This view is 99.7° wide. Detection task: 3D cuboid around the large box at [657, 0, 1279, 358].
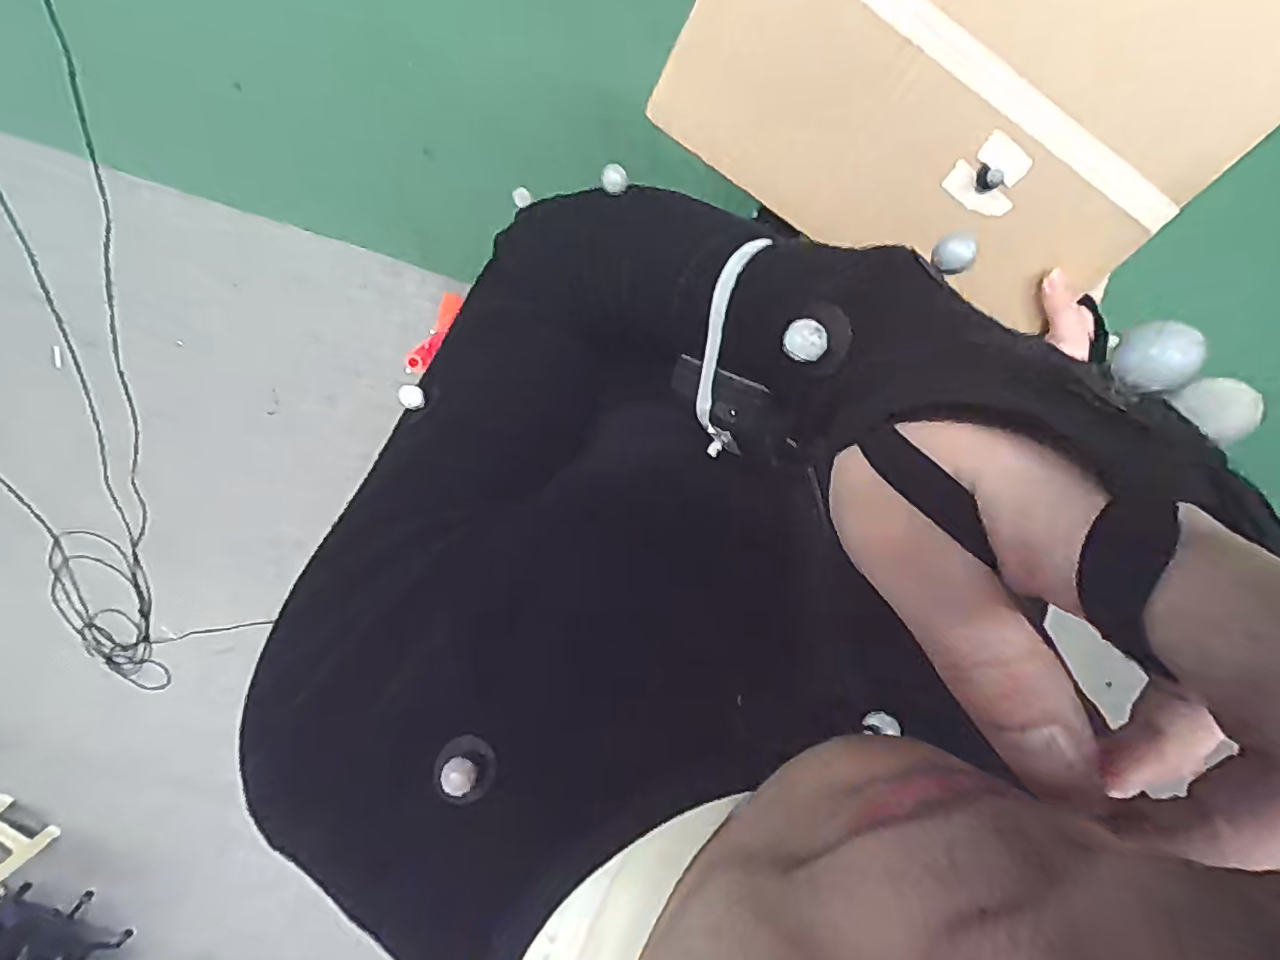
[{"bbox_3d":[0.281,-0.397,0.532,0.408,0.320,0.320,30,128,-8],"label":"large box"}]
